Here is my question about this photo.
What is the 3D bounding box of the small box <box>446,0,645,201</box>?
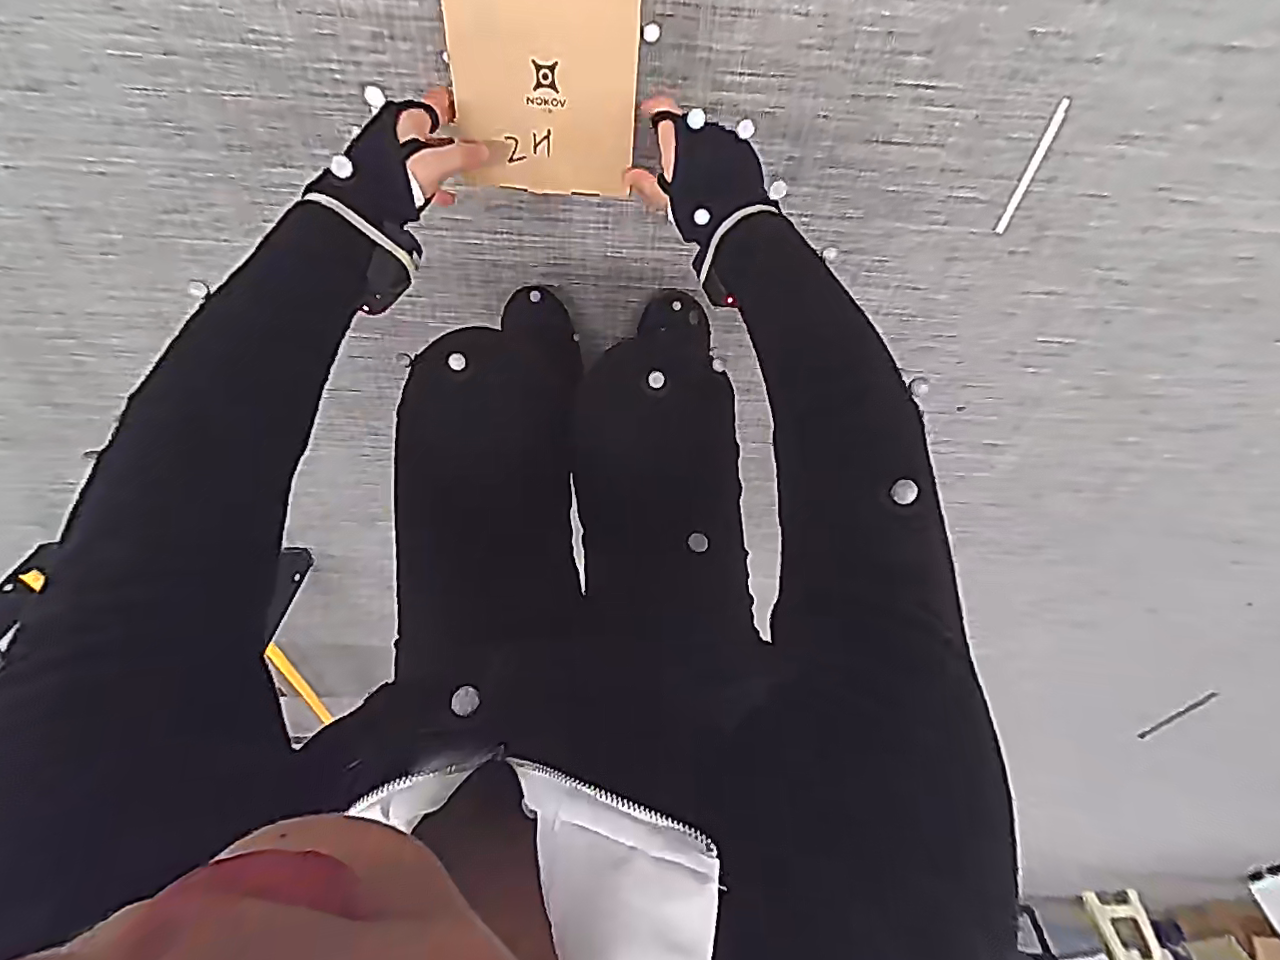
[{"bbox_3d":[-0.084,-0.406,0.543,0.168,0.176,0.179,4,134,-3],"label":"small box"}]
